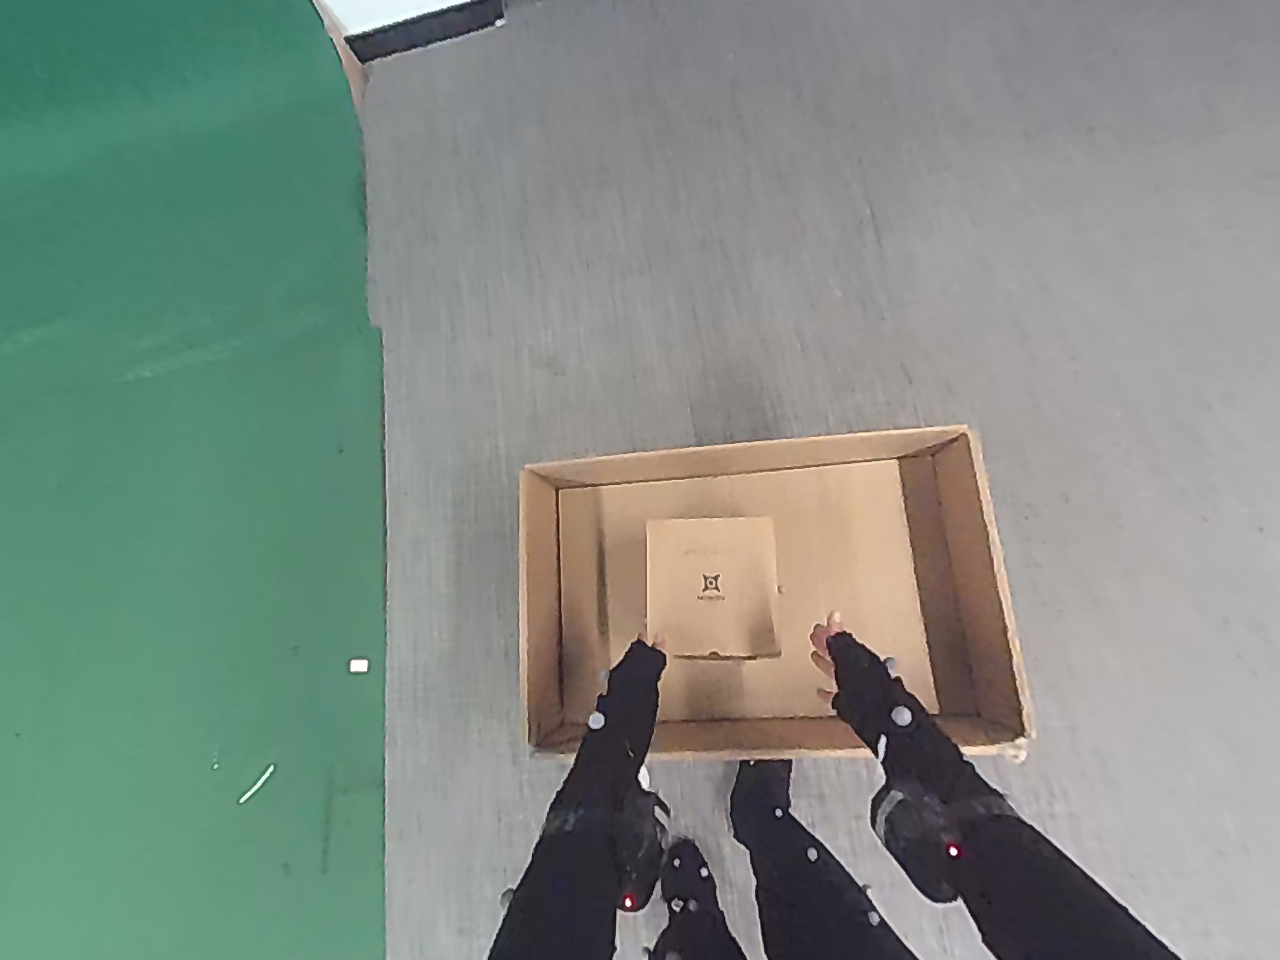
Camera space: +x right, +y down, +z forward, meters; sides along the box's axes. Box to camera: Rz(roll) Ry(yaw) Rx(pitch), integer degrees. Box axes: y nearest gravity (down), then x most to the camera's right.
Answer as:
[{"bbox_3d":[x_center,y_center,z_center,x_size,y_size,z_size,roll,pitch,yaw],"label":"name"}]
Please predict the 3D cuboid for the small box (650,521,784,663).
[{"bbox_3d":[0.106,0.157,0.761,0.168,0.176,0.179,-3,76,7],"label":"small box"}]
